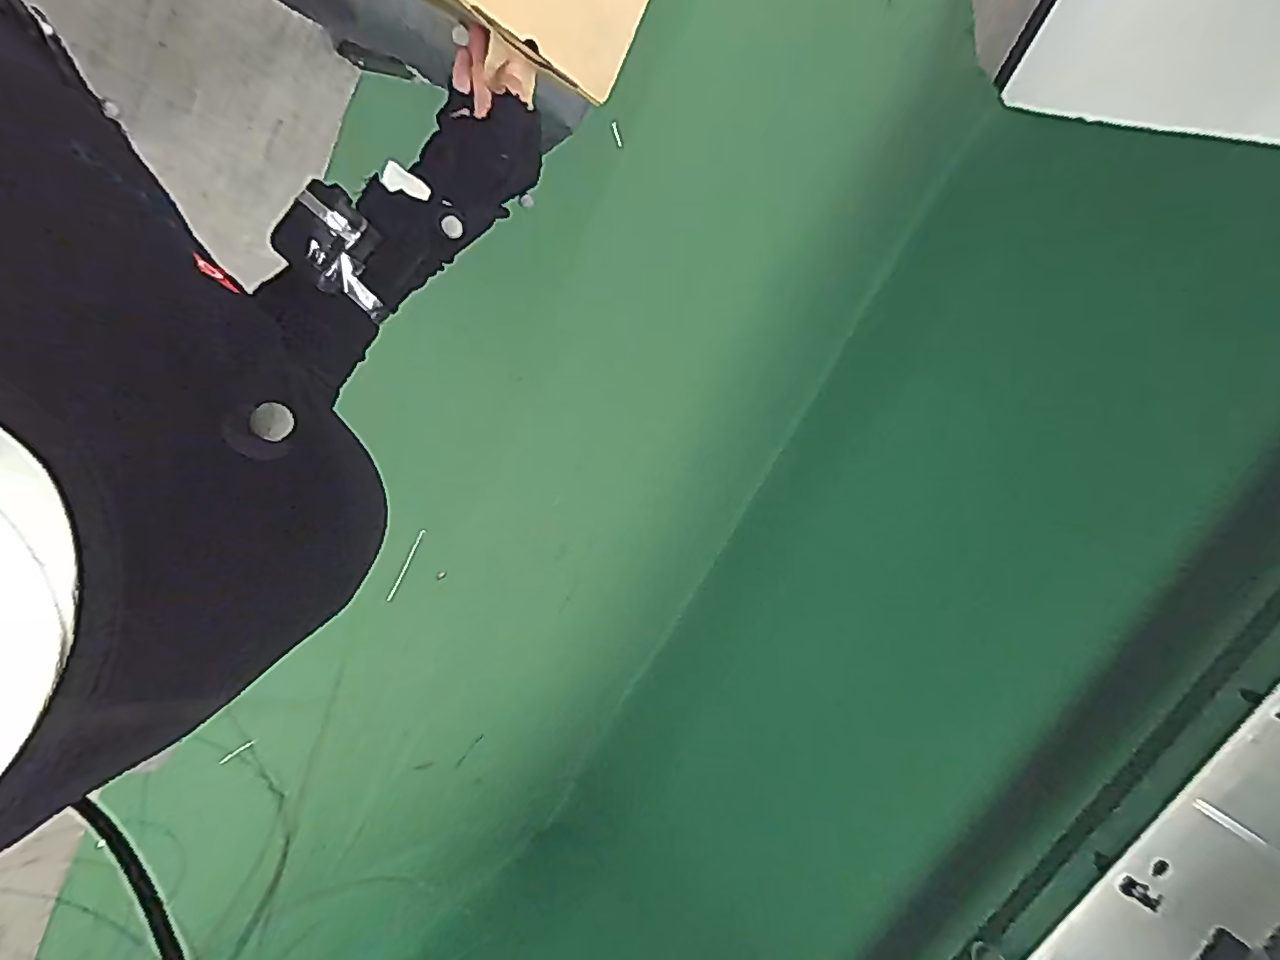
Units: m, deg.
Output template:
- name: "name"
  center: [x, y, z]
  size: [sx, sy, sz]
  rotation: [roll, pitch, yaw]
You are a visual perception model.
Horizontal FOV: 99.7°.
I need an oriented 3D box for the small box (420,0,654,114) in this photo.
- name: "small box"
  center: [-0.092, -0.427, 0.401]
  size: [0.168, 0.176, 0.179]
  rotation: [-6, 134, -54]
